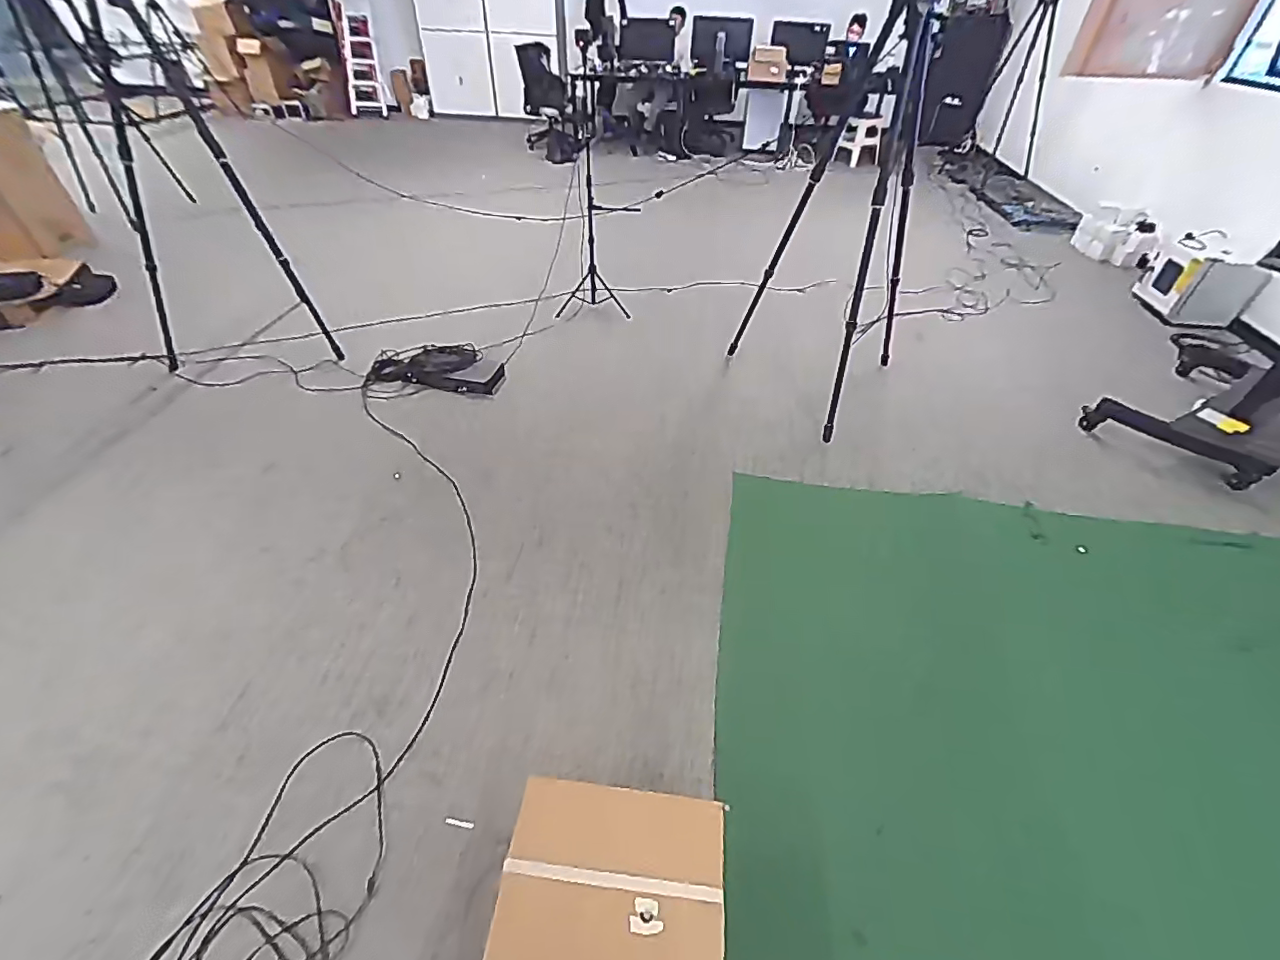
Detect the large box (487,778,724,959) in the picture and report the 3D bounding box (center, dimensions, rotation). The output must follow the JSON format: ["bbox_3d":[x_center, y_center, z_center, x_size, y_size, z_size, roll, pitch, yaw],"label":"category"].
[{"bbox_3d":[-0.053,0.843,1.086,0.408,0.320,0.320,6,43,4],"label":"large box"}]
